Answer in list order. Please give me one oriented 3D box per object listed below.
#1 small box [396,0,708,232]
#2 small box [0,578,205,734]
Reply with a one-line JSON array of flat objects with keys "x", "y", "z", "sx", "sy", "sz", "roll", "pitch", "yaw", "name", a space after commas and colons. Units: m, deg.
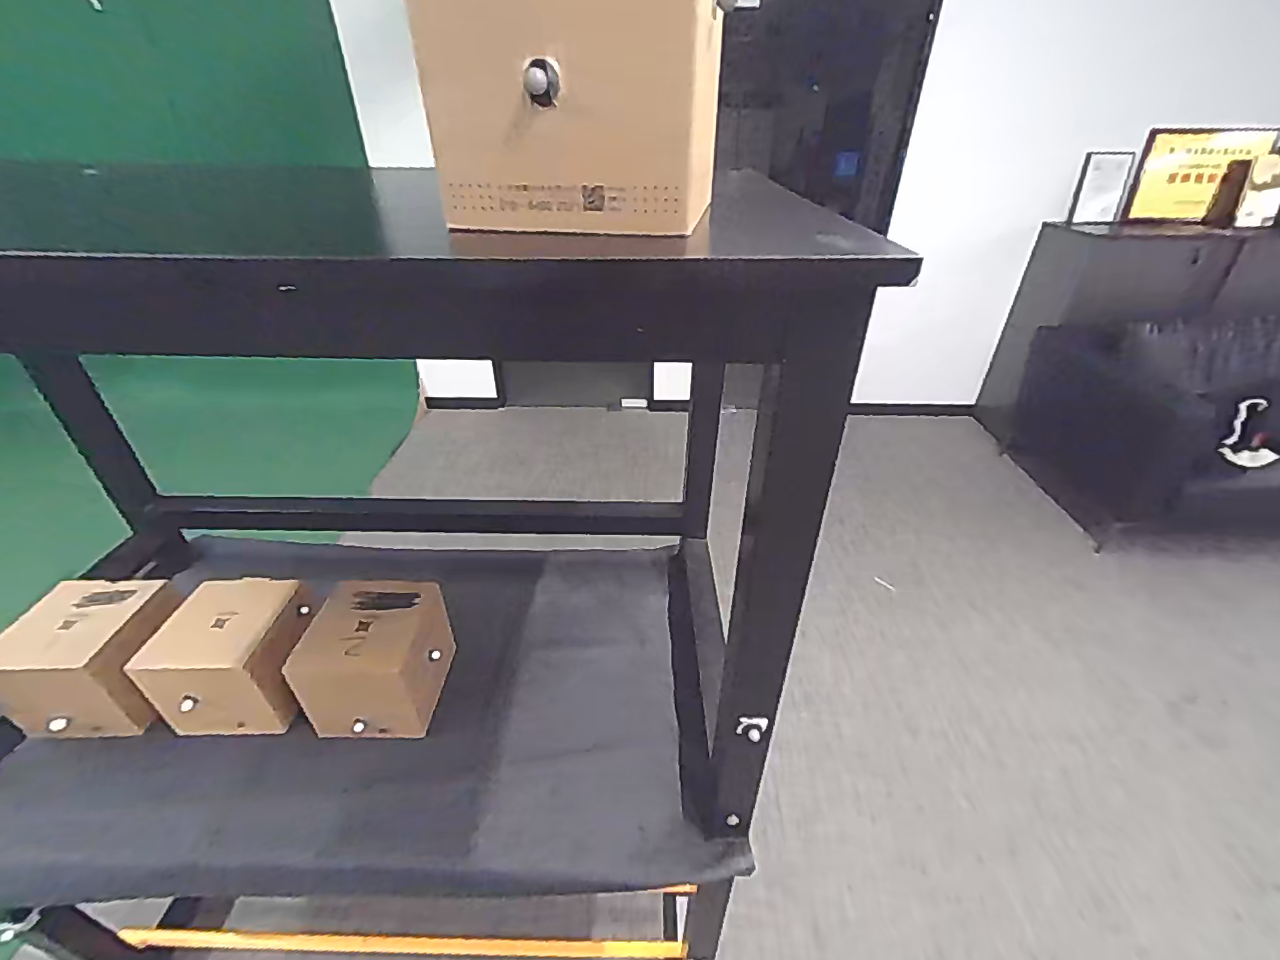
[{"x": -0.043, "y": -0.276, "z": 0.376, "sx": 0.168, "sy": 0.176, "sz": 0.179, "roll": 6, "pitch": 34, "yaw": 9, "name": "small box"}, {"x": -0.848, "y": 0.277, "z": 0.863, "sx": 0.168, "sy": 0.176, "sz": 0.179, "roll": -1, "pitch": 34, "yaw": -2, "name": "small box"}]
